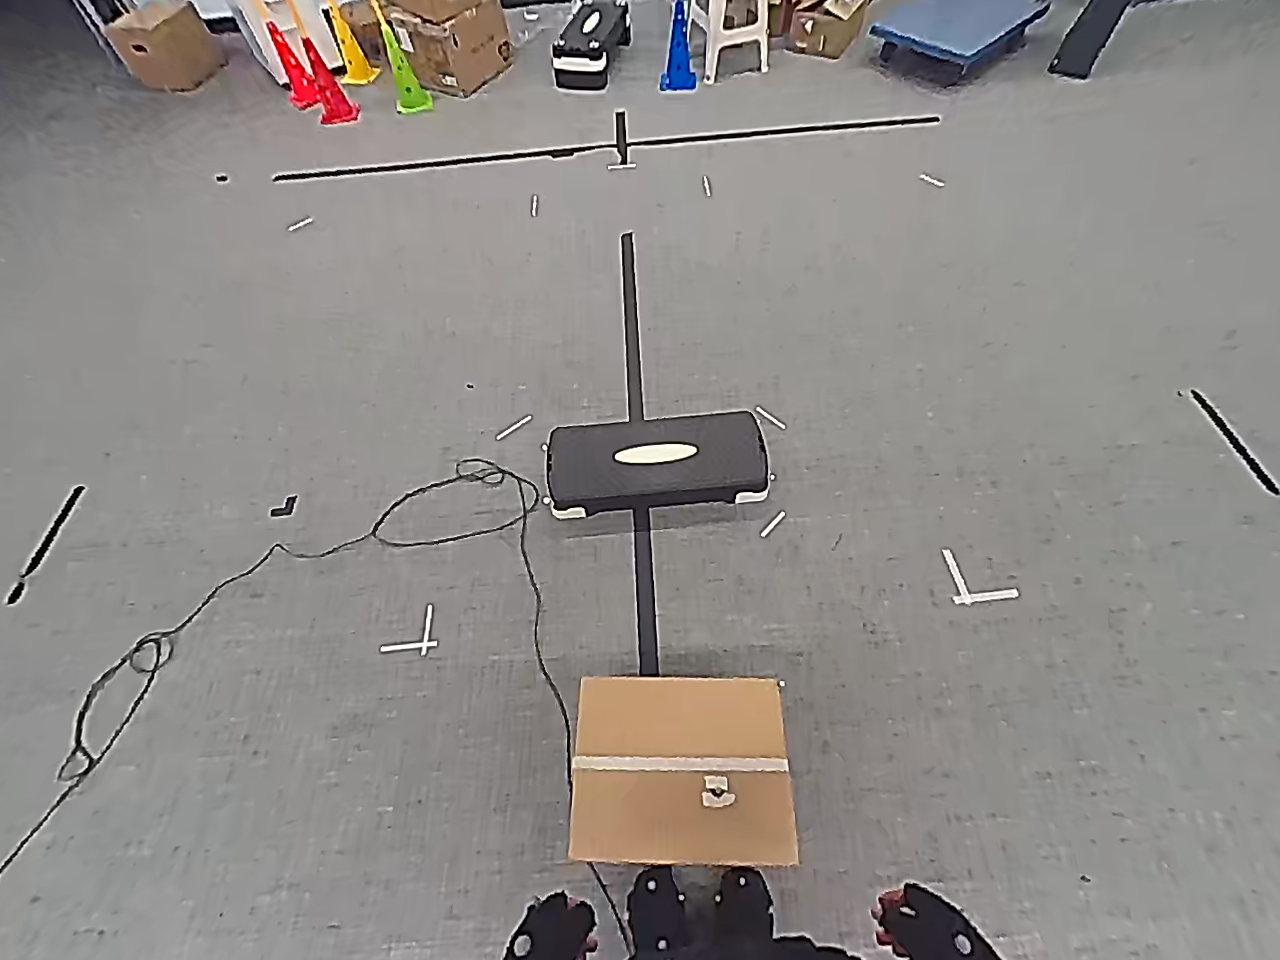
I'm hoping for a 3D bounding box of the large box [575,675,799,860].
[{"bbox_3d":[0.085,0.611,1.150,0.408,0.320,0.320,0,58,2],"label":"large box"}]
